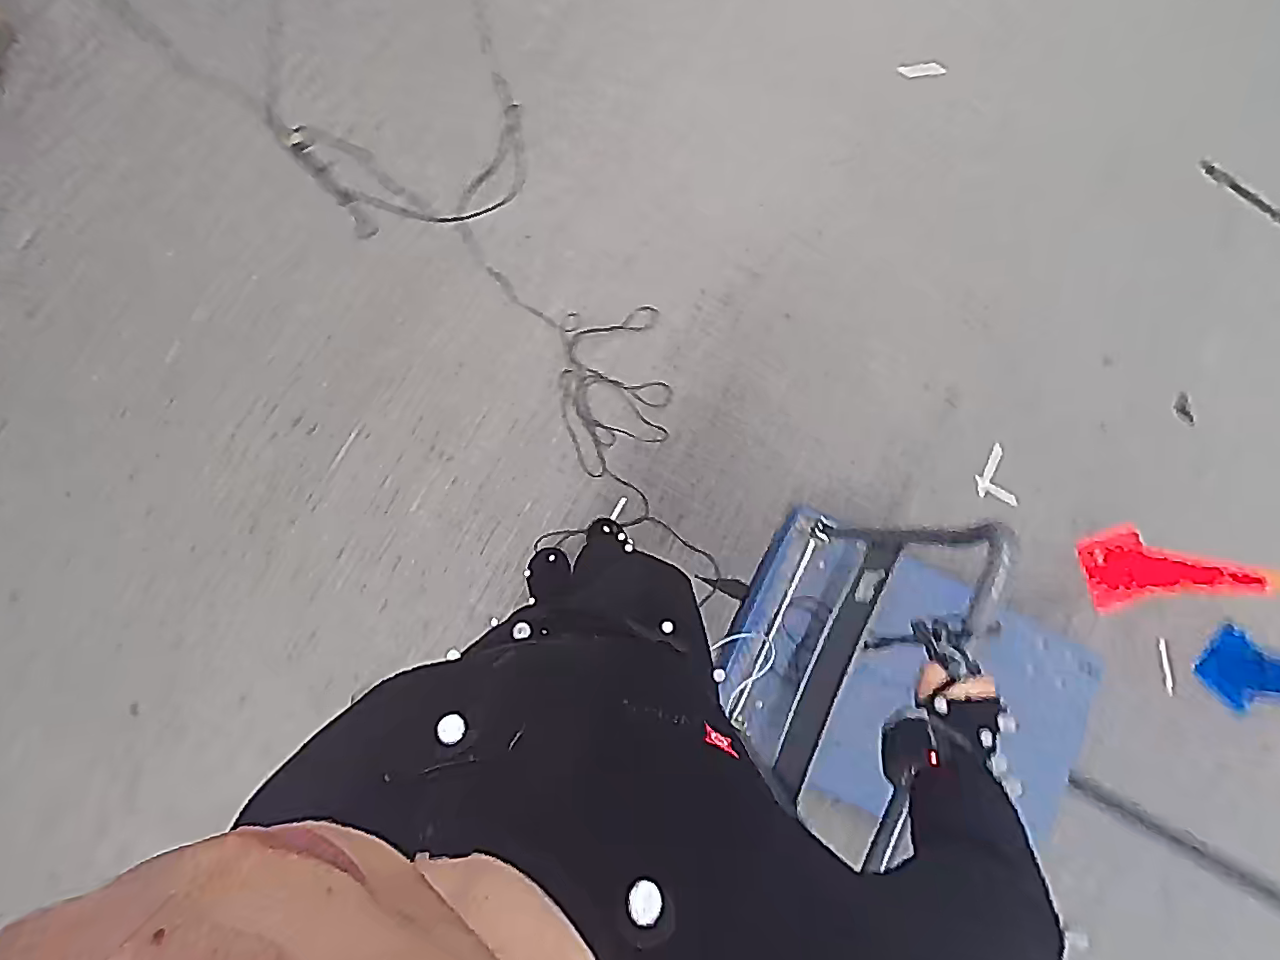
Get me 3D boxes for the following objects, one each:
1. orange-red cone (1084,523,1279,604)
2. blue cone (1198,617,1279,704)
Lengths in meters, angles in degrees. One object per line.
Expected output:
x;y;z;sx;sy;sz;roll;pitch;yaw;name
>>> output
1.371;0.223;1.347;0.198;0.360;0.199;-16;89;-6;orange-red cone
1.714;0.502;1.376;0.192;0.380;0.193;44;83;0;blue cone
